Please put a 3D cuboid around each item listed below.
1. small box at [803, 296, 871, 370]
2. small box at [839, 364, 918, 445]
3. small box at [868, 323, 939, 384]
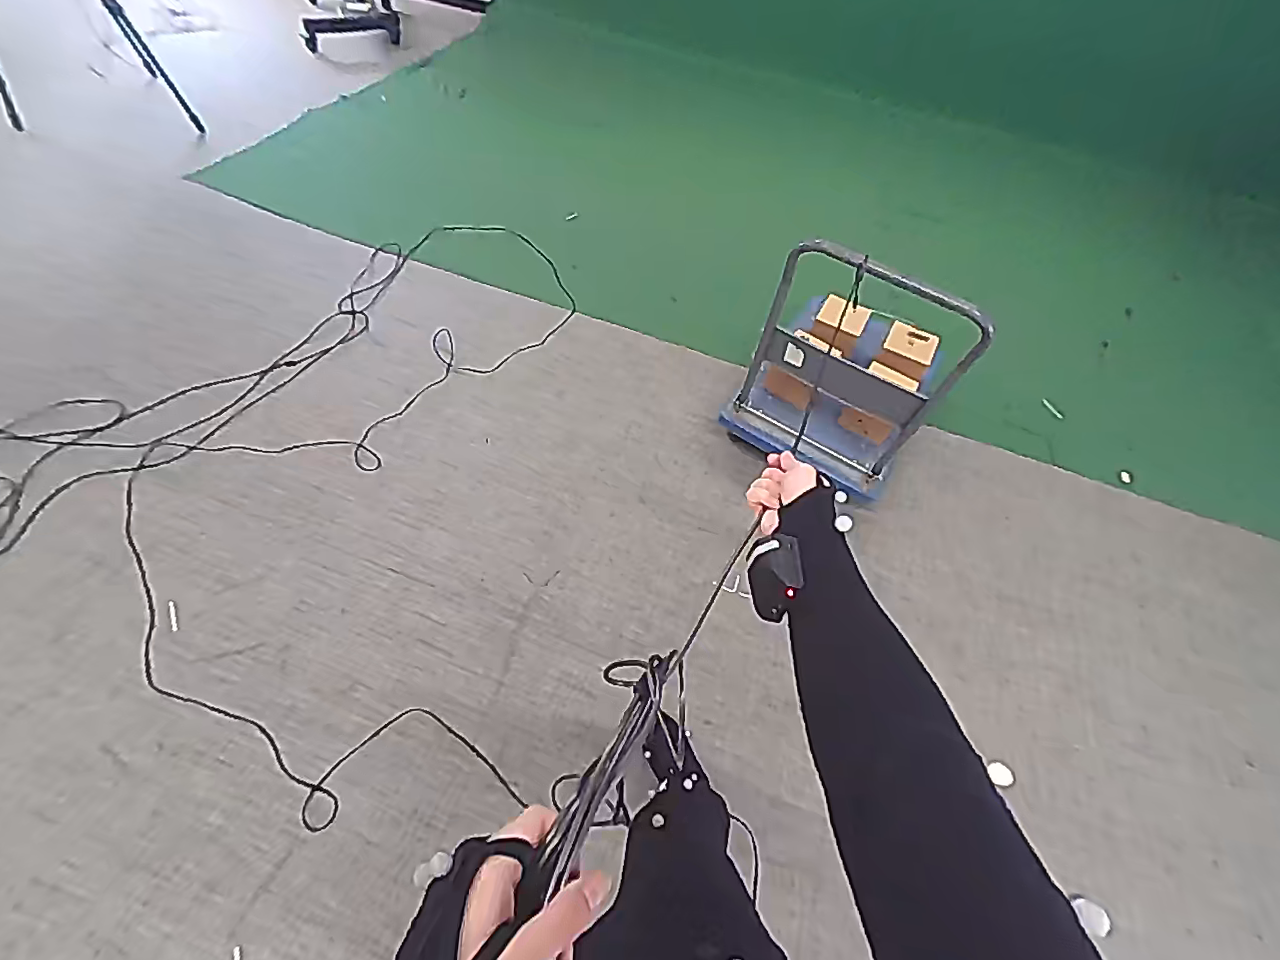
[{"bbox_3d":[0.728,-0.544,2.018,0.168,0.176,0.179,28,57,12],"label":"small box"},{"bbox_3d":[0.798,-0.253,1.824,0.168,0.176,0.179,32,58,15],"label":"small box"},{"bbox_3d":[0.947,-0.432,1.963,0.168,0.176,0.179,27,58,13],"label":"small box"}]
